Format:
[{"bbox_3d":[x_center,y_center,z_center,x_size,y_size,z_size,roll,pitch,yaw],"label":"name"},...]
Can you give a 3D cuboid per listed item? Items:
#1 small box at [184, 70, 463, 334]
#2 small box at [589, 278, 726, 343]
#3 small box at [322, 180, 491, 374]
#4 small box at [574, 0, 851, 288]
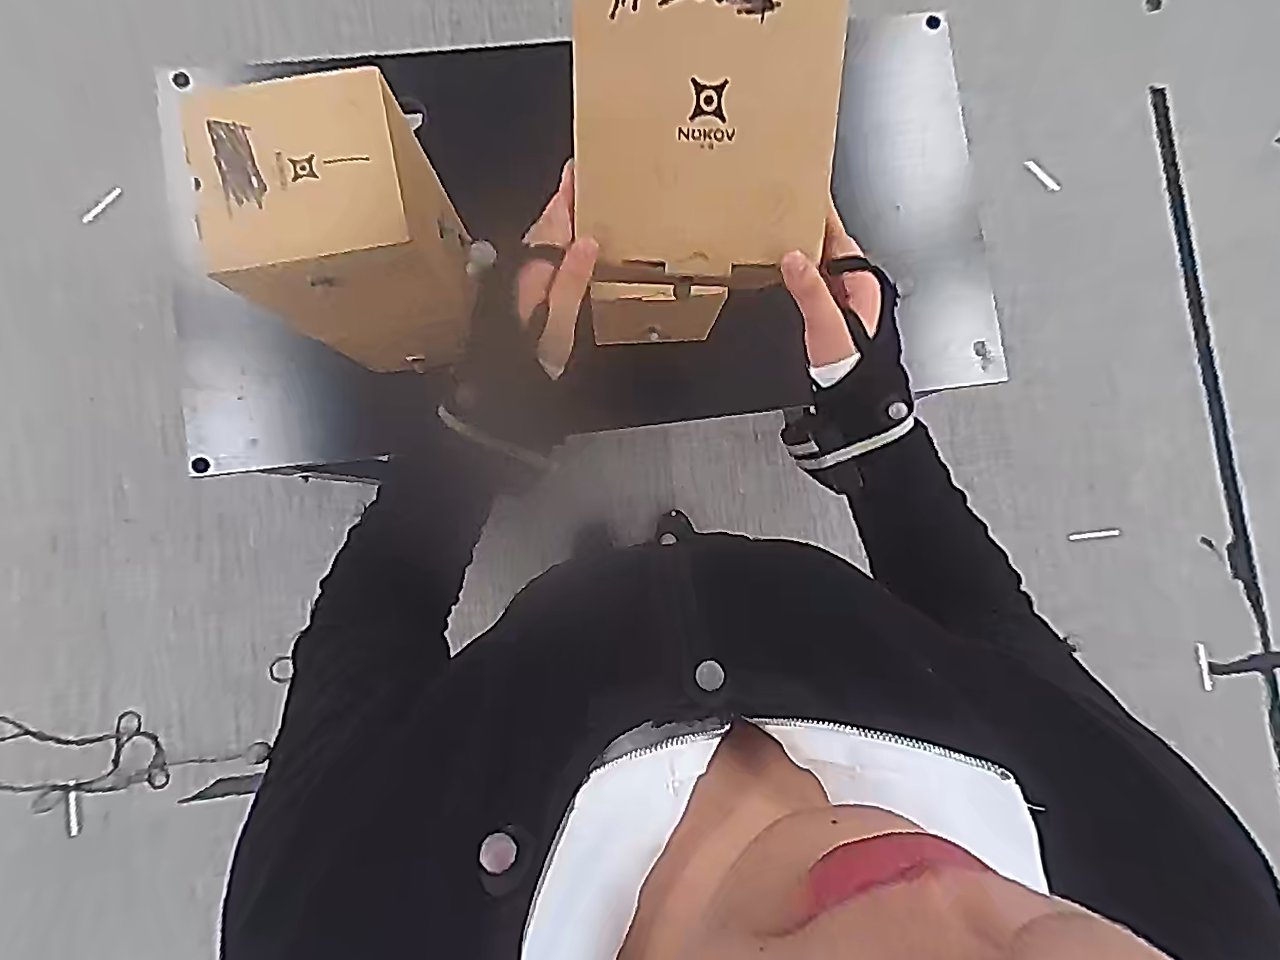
[{"bbox_3d":[-0.301,-0.262,0.549,0.179,0.176,0.168,-11,87,-4],"label":"small box"},{"bbox_3d":[0.014,-0.298,0.730,0.168,0.176,0.179,-3,86,-3],"label":"small box"},{"bbox_3d":[-0.307,-0.256,0.713,0.168,0.176,0.179,-11,88,-2],"label":"small box"},{"bbox_3d":[0.039,-0.242,0.414,0.168,0.176,0.179,0,107,-3],"label":"small box"}]
